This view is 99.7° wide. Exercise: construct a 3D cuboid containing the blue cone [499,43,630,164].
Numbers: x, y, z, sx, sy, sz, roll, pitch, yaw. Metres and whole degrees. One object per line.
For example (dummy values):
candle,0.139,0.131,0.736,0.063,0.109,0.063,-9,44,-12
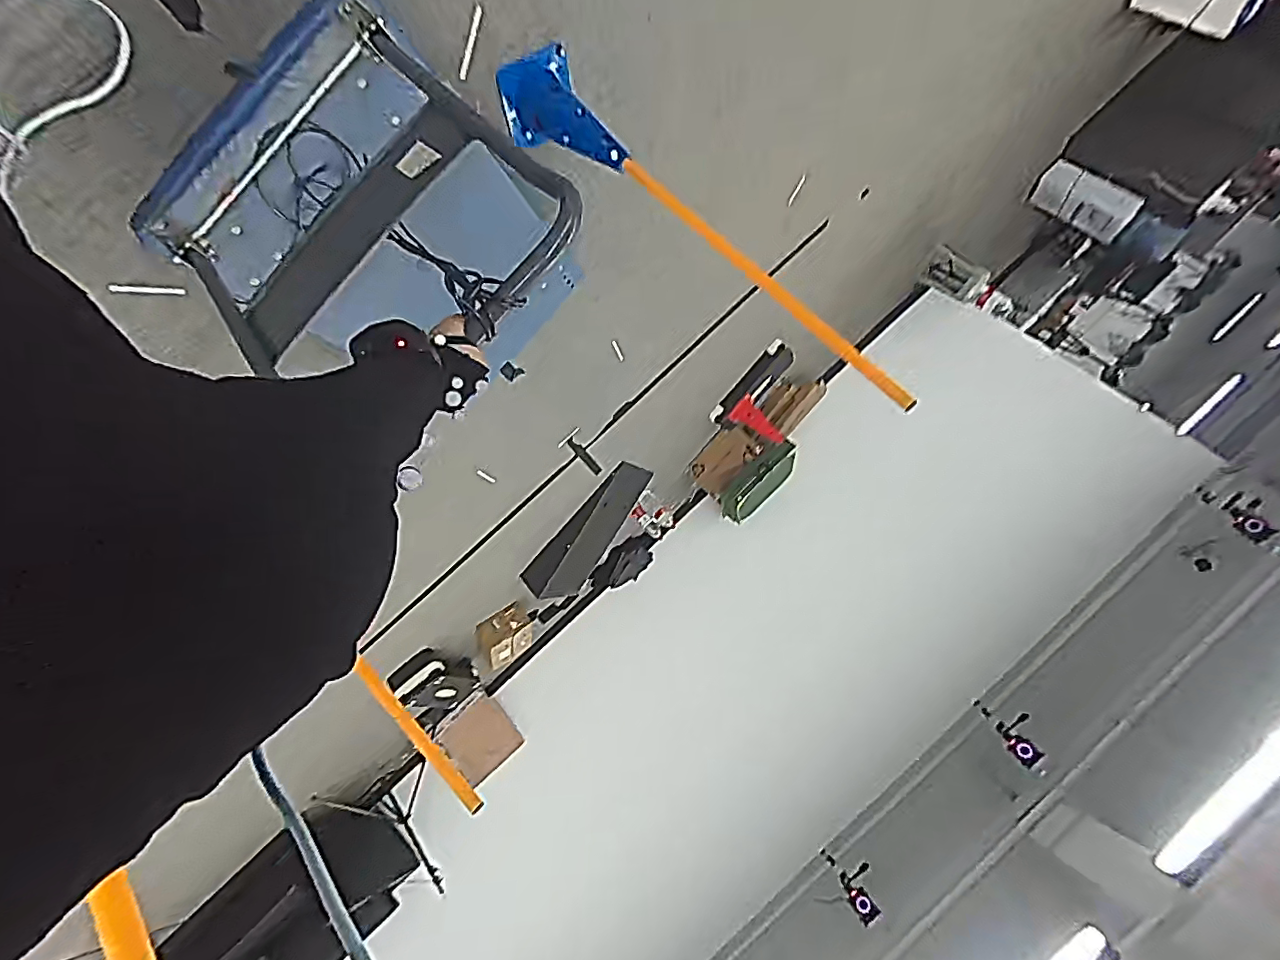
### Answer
blue cone,-0.152,-0.847,1.289,0.193,0.380,0.192,-36,156,-17
